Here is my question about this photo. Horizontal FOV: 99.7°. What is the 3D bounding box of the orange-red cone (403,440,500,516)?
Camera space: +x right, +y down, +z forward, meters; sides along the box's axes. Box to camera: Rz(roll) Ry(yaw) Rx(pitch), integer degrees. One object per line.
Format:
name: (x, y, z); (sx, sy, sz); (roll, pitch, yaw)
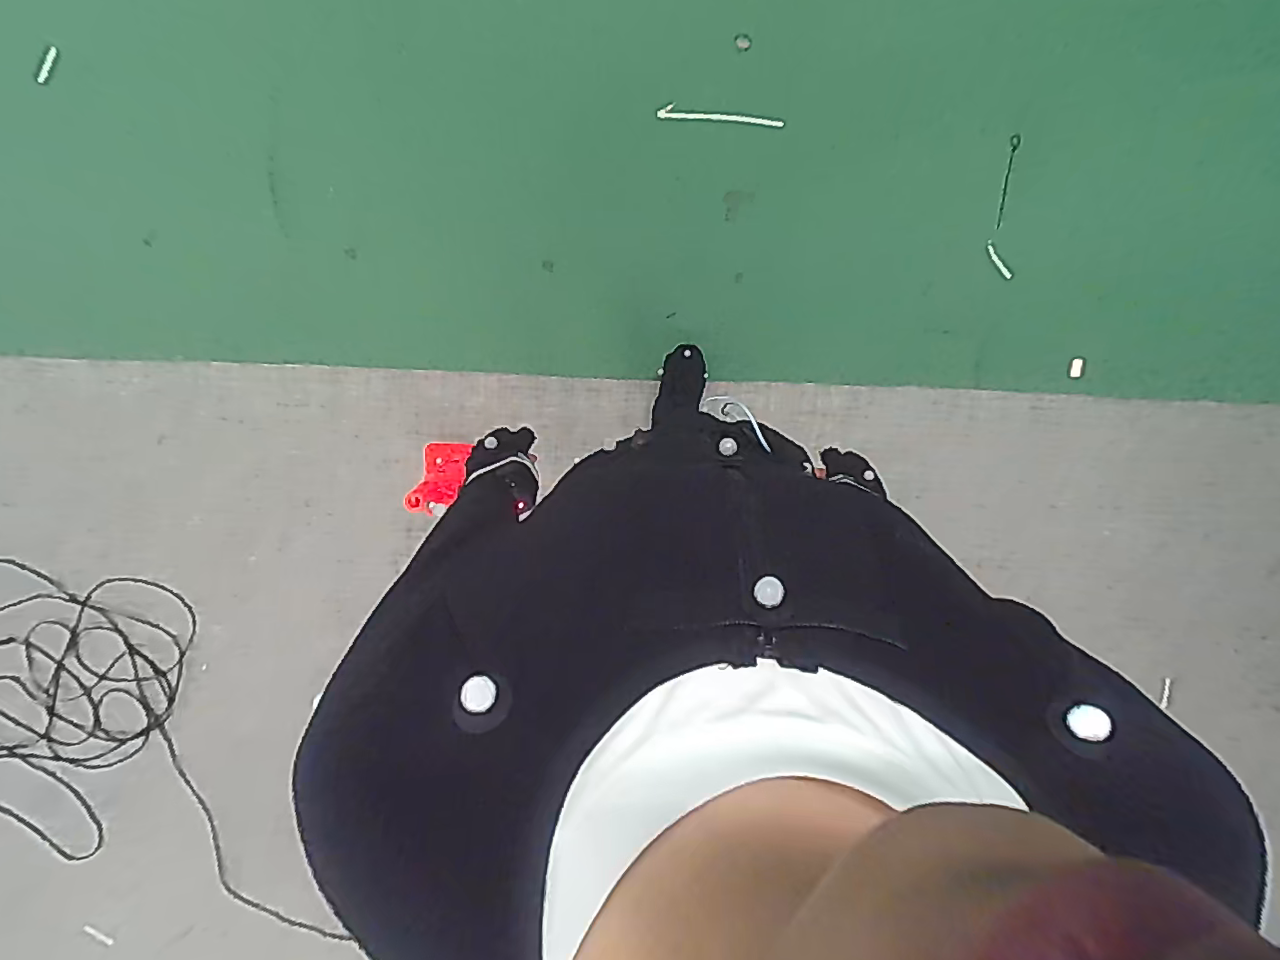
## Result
orange-red cone: (-0.469, 0.020, 1.276); (0.198, 0.360, 0.199); (2, 98, -2)

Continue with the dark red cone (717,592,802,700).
dark red cone: (0.322, 0.430, 1.340); (0.202, 0.394, 0.201); (-4, 96, -2)
